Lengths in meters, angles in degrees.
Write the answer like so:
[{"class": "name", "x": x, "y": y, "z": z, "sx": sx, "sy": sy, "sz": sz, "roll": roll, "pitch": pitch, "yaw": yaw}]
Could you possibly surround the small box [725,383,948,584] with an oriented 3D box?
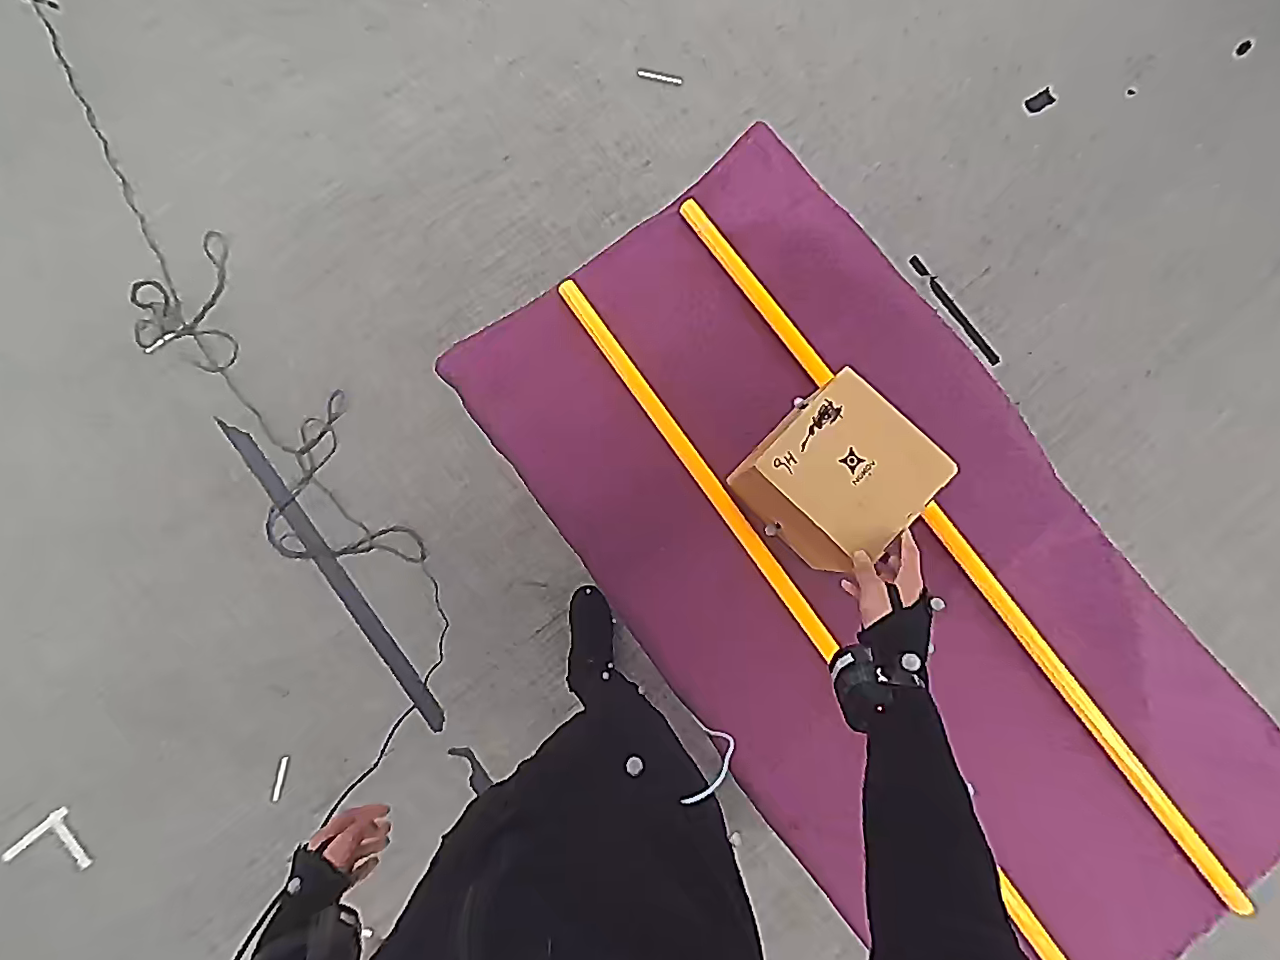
[{"class": "small box", "x": 0.235, "y": 0.009, "z": 0.695, "sx": 0.179, "sy": 0.176, "sz": 0.168, "roll": 45, "pitch": 84, "yaw": 3}]
